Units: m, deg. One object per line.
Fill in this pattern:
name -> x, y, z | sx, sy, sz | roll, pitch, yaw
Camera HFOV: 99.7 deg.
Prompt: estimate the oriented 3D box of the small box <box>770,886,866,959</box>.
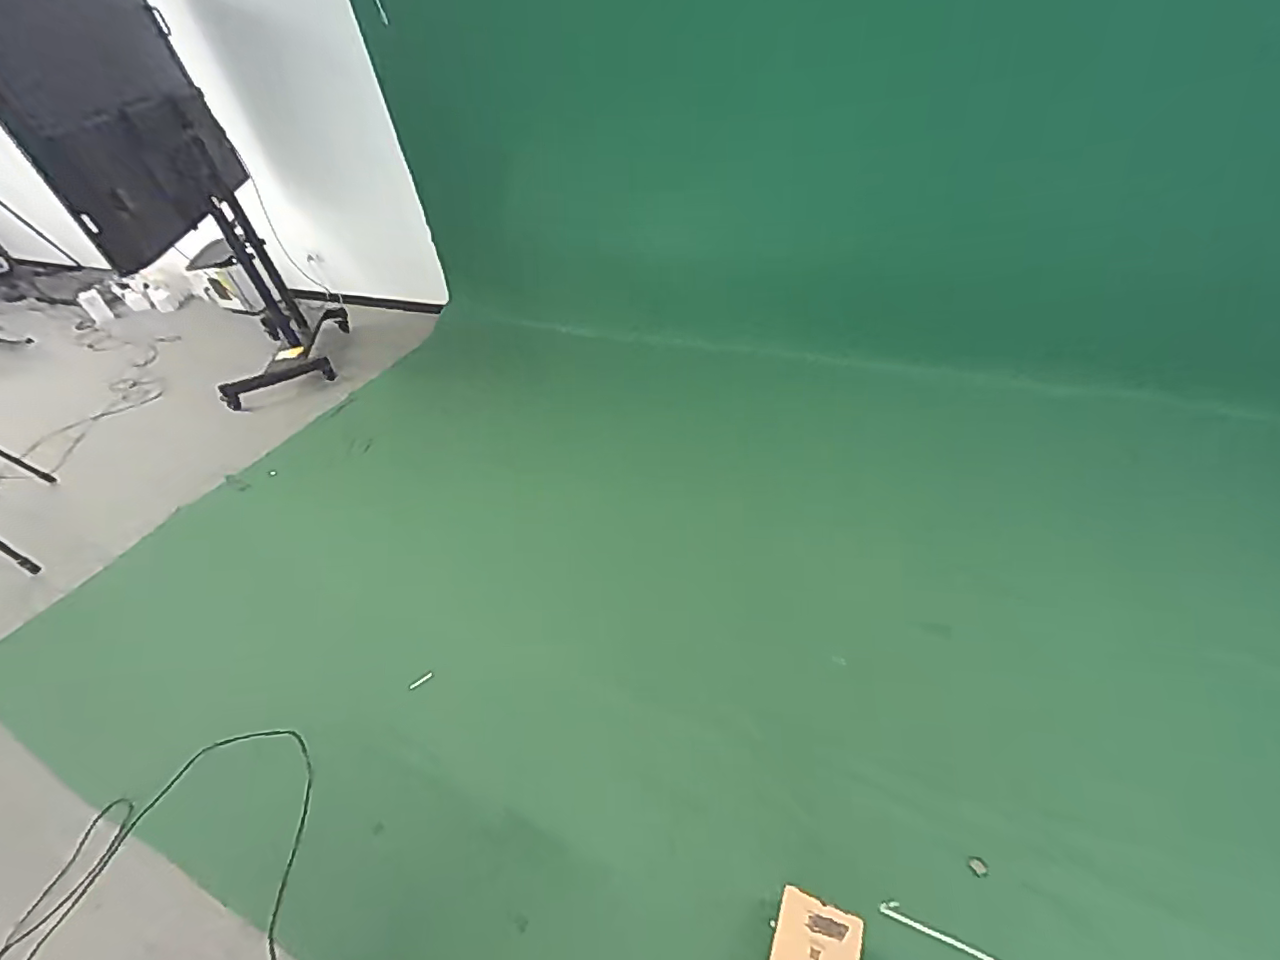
small box -> 0.372, 1.020, 1.155 | 0.168, 0.176, 0.179 | 13, 46, 22
